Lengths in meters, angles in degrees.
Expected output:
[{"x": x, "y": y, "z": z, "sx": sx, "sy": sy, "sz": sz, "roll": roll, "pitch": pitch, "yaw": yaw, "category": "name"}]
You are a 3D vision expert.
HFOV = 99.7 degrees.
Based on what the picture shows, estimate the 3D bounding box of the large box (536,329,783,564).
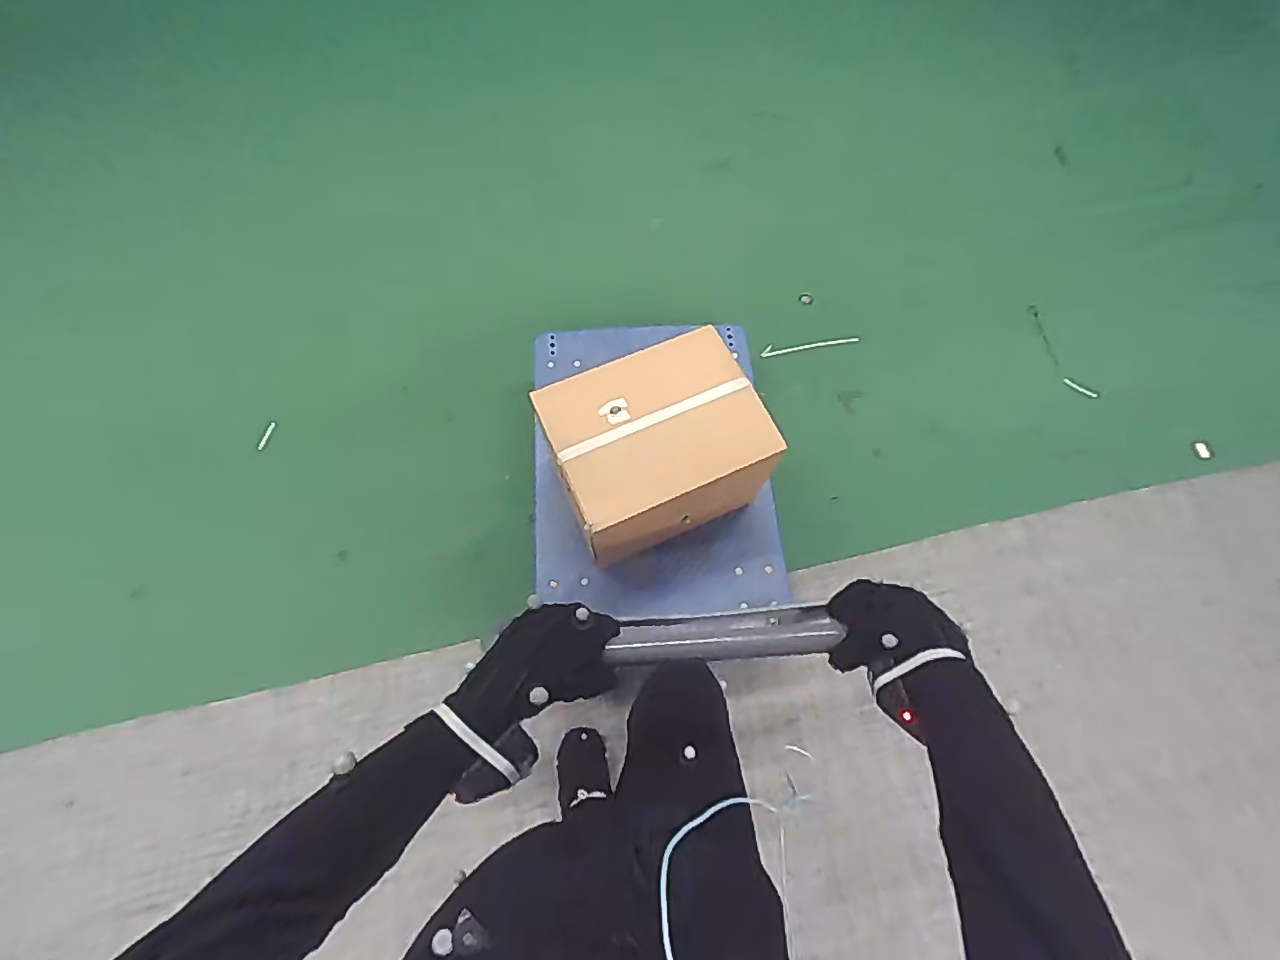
[{"x": 0.034, "y": -0.059, "z": 1.186, "sx": 0.408, "sy": 0.320, "sz": 0.320, "roll": -23, "pitch": 71, "yaw": -9, "category": "large box"}]
